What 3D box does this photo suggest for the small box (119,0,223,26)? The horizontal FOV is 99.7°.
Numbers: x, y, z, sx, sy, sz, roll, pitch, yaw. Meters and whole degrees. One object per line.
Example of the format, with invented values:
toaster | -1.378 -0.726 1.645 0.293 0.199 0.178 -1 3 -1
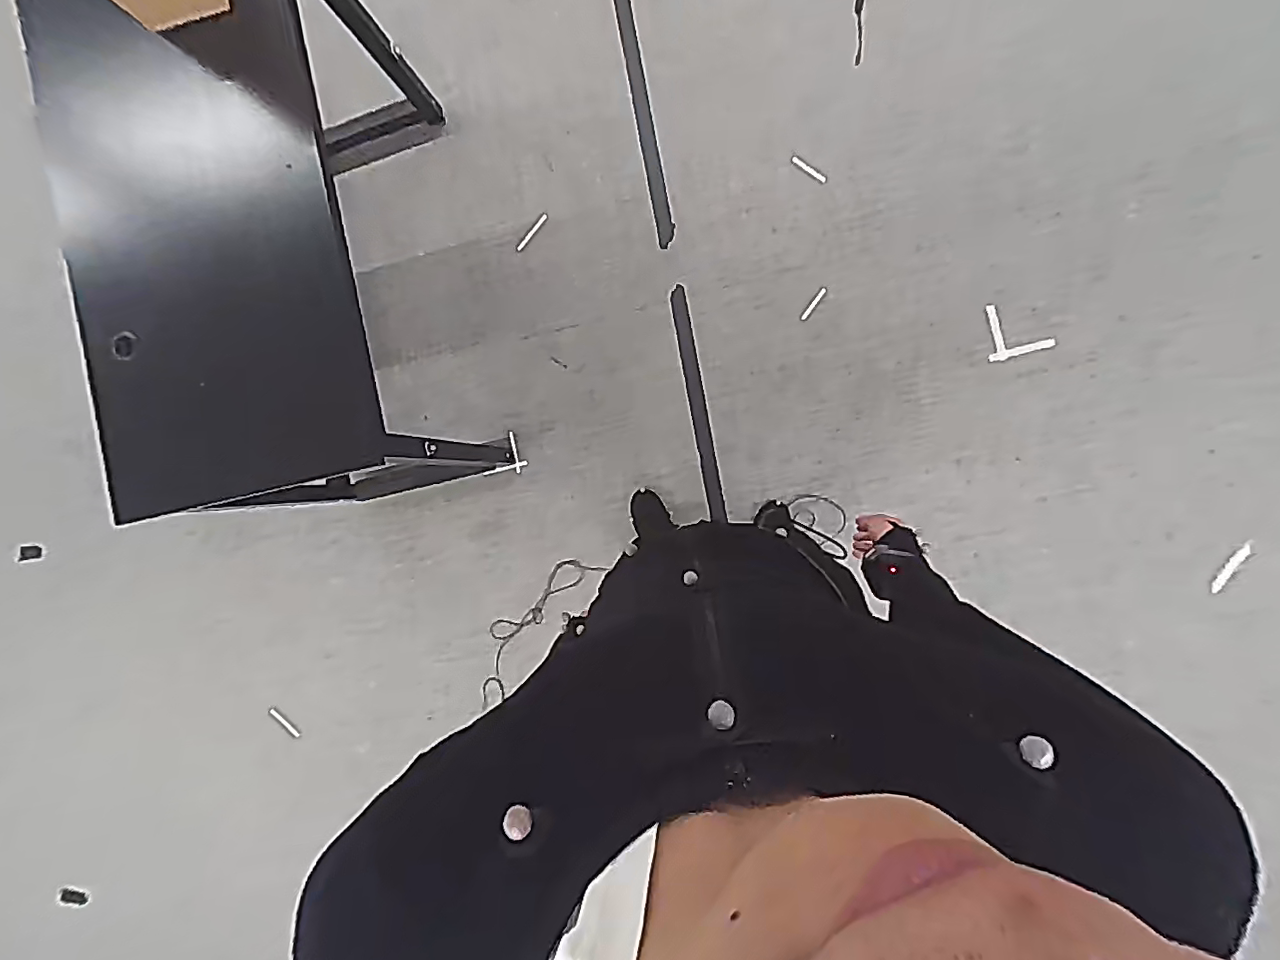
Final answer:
small box | -0.897 -0.971 0.970 0.179 0.176 0.168 -7 91 9
